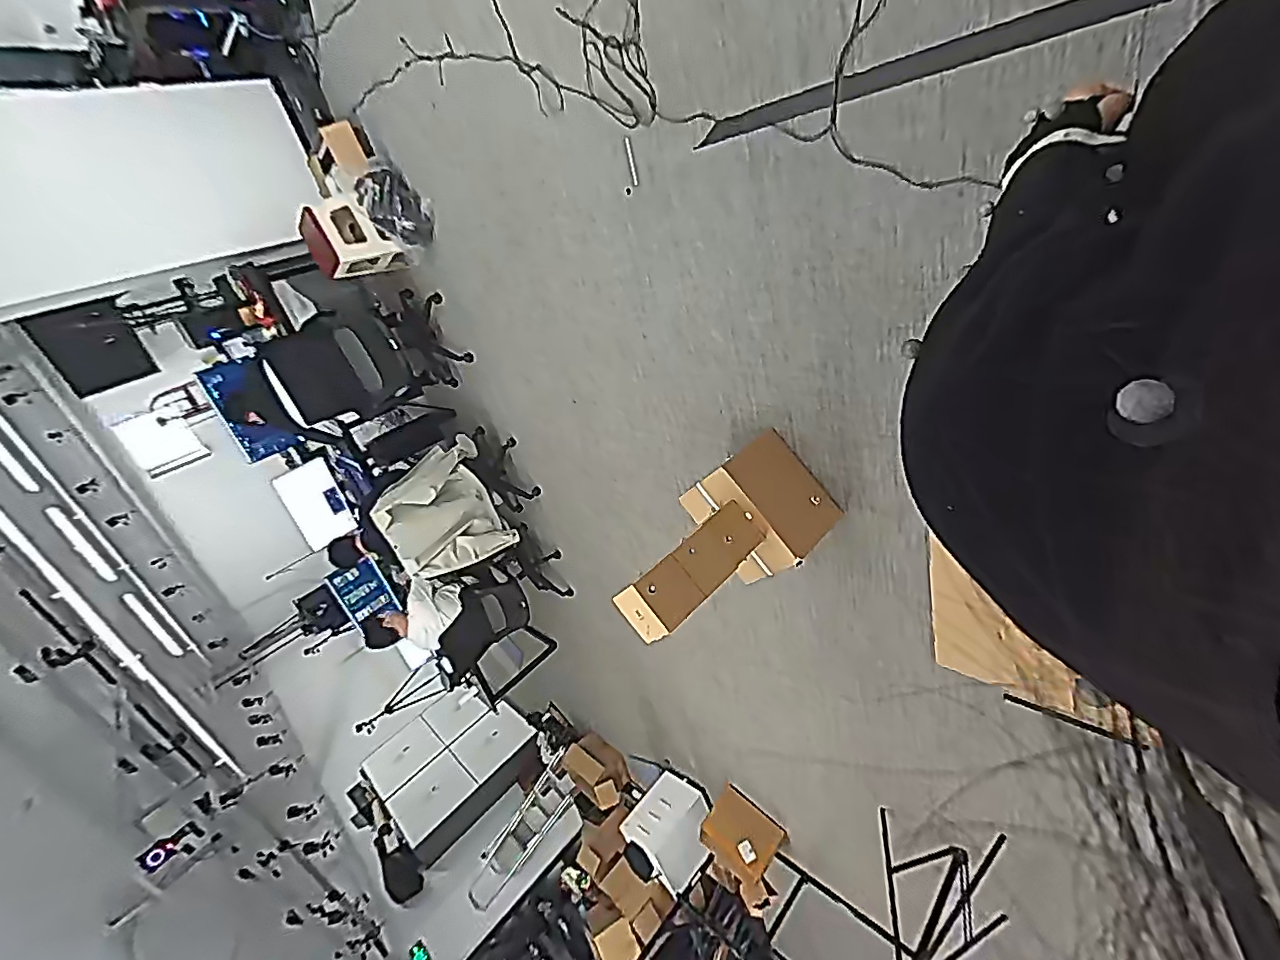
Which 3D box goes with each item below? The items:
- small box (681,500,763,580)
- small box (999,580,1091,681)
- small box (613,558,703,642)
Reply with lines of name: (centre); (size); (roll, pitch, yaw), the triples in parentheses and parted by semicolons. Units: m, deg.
small box: (0.277, 0.200, 1.812); (0.179, 0.176, 0.168); (51, 145, 7)
small box: (1.119, 0.408, 1.494); (0.168, 0.176, 0.179); (16, 130, 40)
small box: (0.055, 0.355, 1.626); (0.179, 0.176, 0.168); (51, 146, 6)
